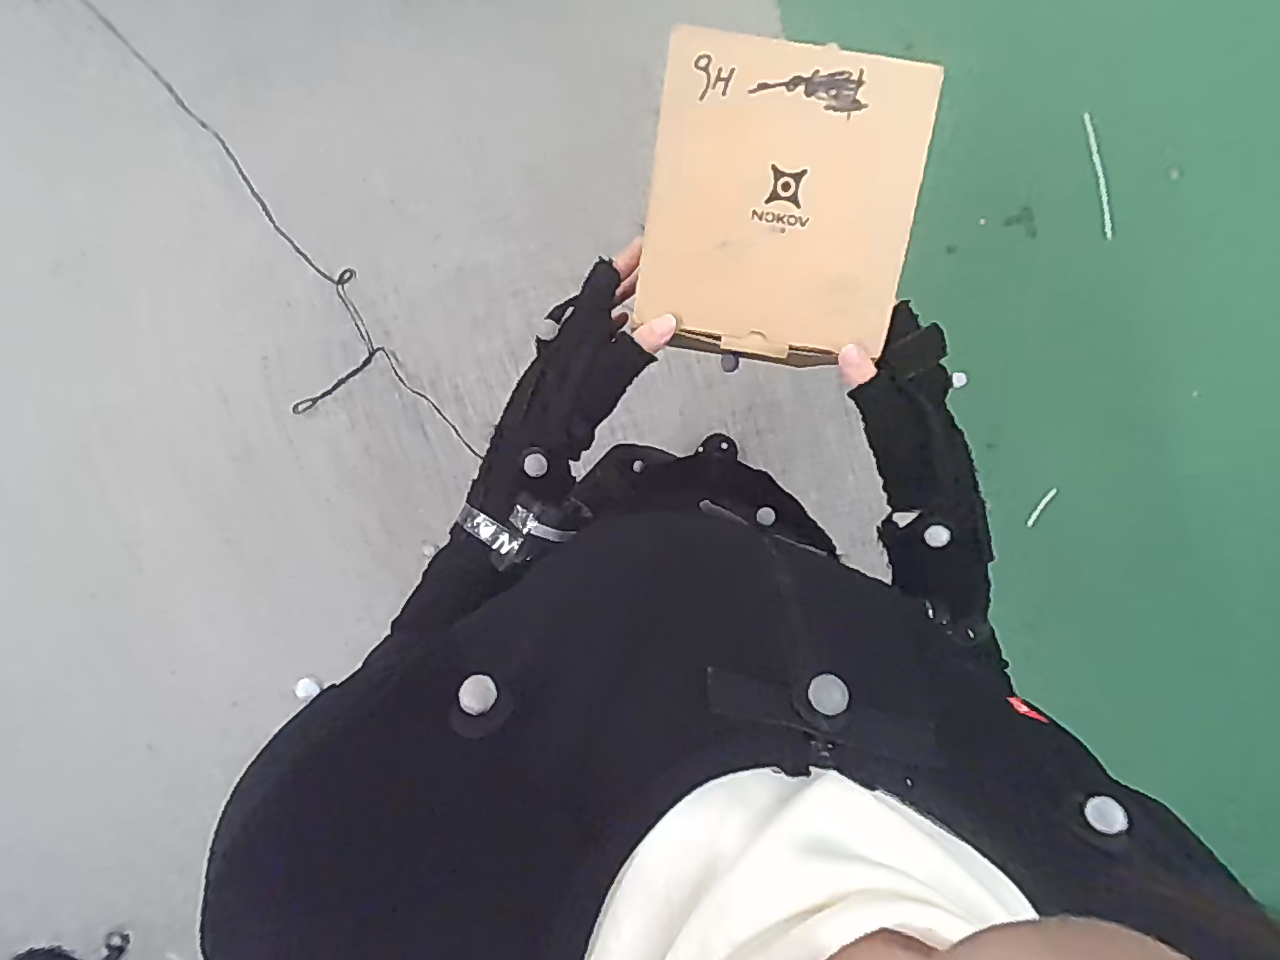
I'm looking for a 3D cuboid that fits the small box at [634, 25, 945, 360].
[{"bbox_3d":[0.091,-0.191,0.413,0.168,0.176,0.179,8,103,0],"label":"small box"}]

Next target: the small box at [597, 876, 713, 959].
[{"bbox_3d":[0.034,0.853,0.955,0.179,0.176,0.168,-15,93,2],"label":"small box"}]
